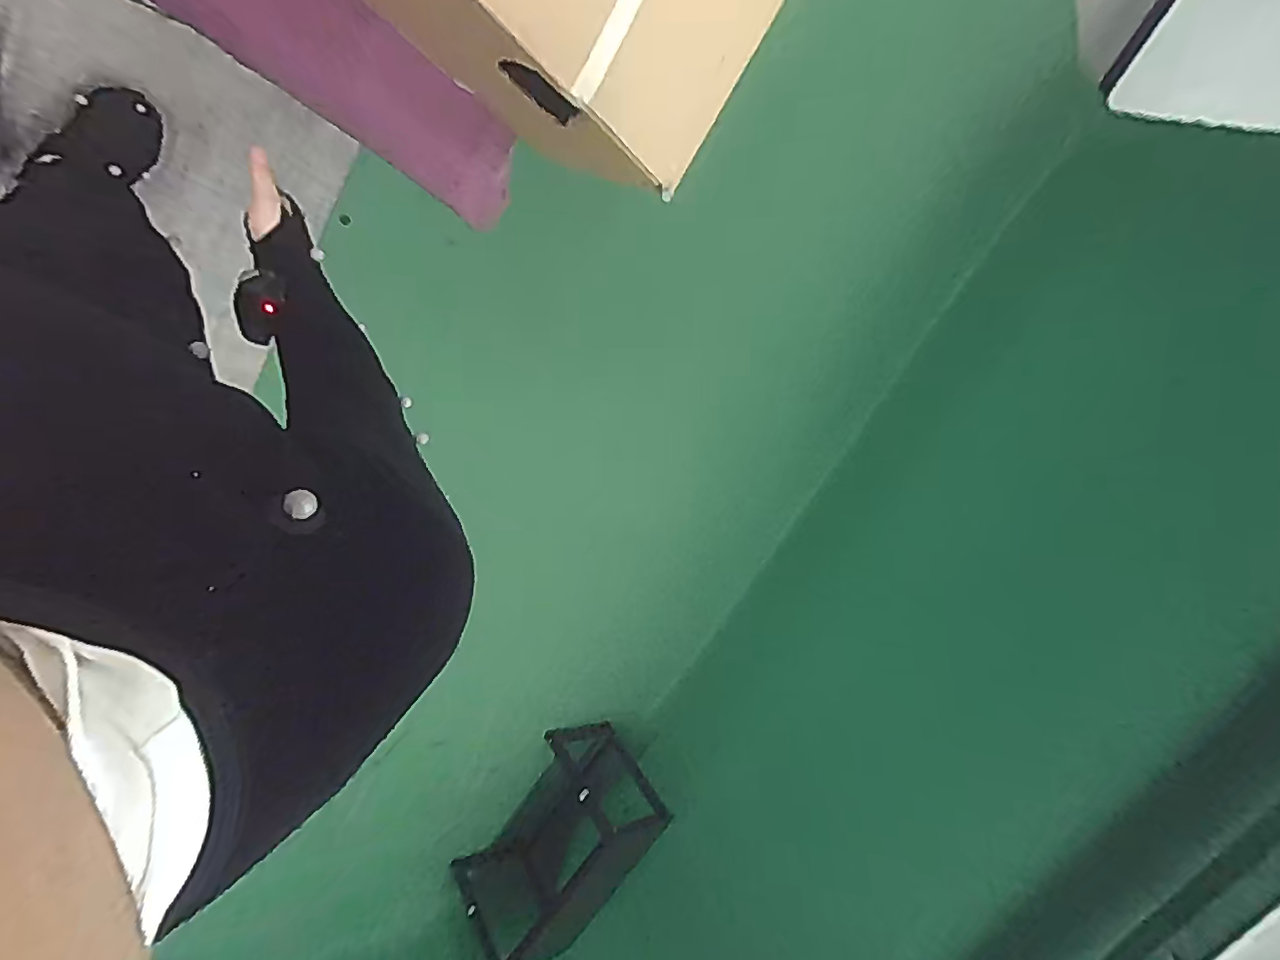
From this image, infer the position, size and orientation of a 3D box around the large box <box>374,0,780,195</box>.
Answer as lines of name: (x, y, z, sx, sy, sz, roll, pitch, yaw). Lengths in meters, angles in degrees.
large box: (-0.043, -0.608, 0.573, 0.320, 0.320, 0.408, 19, 109, -48)
